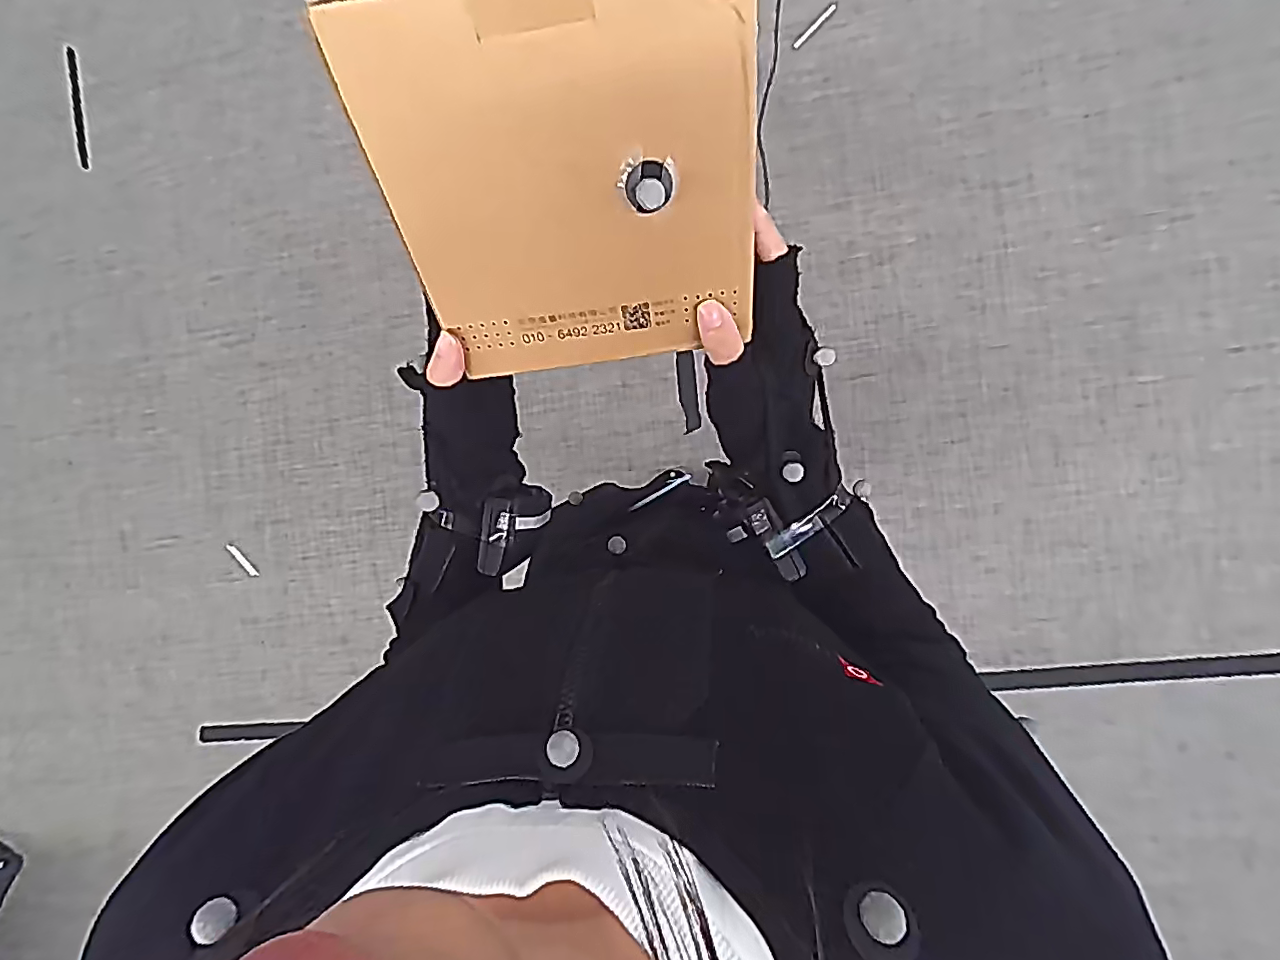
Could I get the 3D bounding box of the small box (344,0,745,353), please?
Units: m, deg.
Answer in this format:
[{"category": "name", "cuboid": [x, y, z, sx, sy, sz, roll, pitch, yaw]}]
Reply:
[{"category": "small box", "cuboid": [-0.029, -0.189, 0.323, 0.168, 0.176, 0.179, -6, 46, 5]}]
